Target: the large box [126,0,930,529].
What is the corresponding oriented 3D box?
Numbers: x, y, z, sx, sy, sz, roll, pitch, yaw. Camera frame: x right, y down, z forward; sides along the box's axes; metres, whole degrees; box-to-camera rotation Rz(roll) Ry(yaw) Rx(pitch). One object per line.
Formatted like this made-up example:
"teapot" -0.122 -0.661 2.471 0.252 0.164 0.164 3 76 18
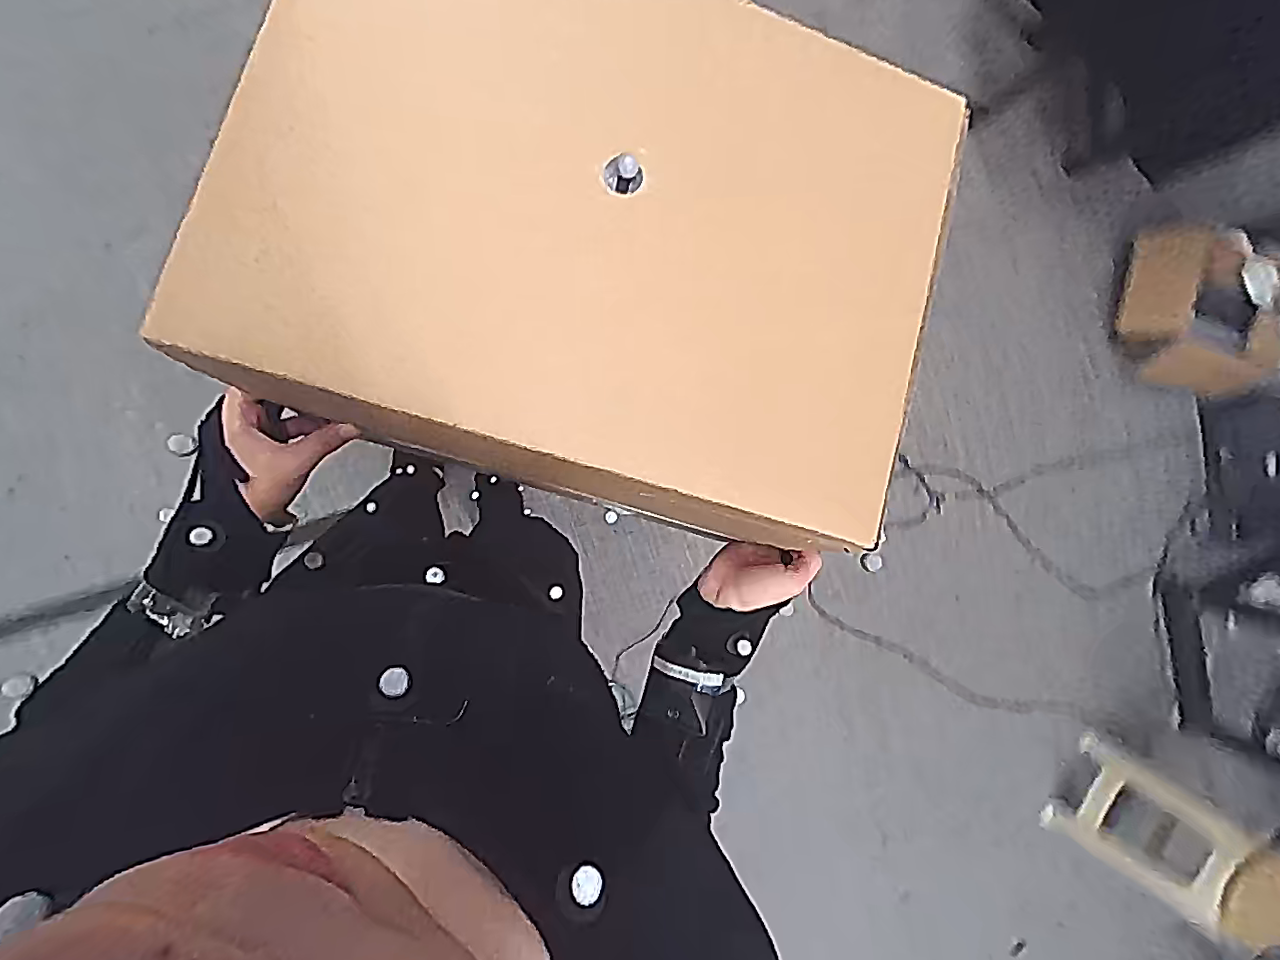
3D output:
"large box" -0.055 -0.157 0.450 0.408 0.320 0.320 13 85 -7
